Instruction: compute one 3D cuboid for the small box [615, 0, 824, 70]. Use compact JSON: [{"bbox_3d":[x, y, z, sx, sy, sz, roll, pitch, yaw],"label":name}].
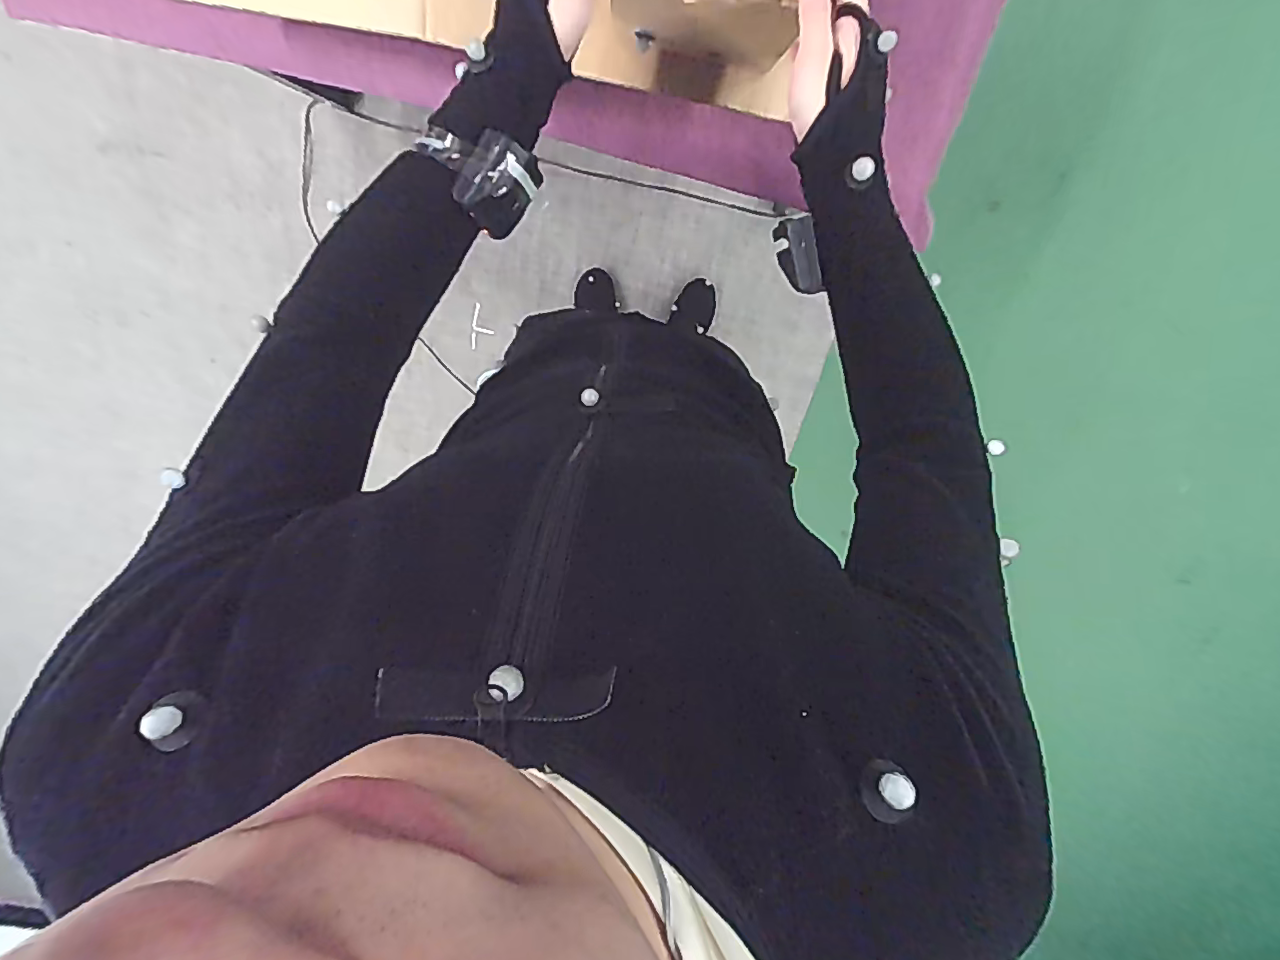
[{"bbox_3d":[0.072,-0.474,0.443,0.168,0.176,0.179,9,112,-6],"label":"small box"}]
